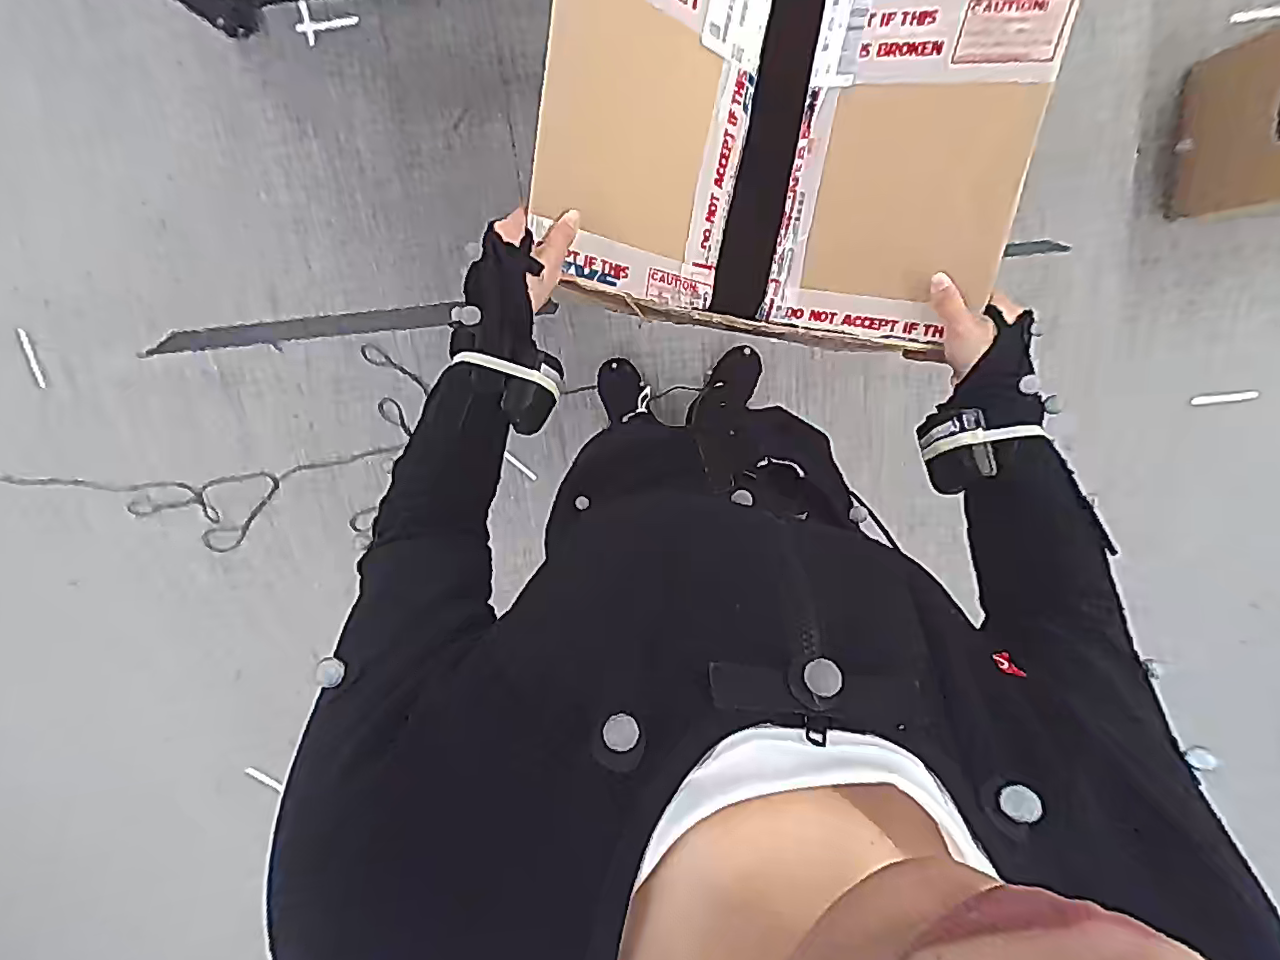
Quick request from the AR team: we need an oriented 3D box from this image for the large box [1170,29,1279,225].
[{"bbox_3d":[1.366,-0.701,1.024,0.408,0.320,0.320,-7,105,4],"label":"large box"}]
